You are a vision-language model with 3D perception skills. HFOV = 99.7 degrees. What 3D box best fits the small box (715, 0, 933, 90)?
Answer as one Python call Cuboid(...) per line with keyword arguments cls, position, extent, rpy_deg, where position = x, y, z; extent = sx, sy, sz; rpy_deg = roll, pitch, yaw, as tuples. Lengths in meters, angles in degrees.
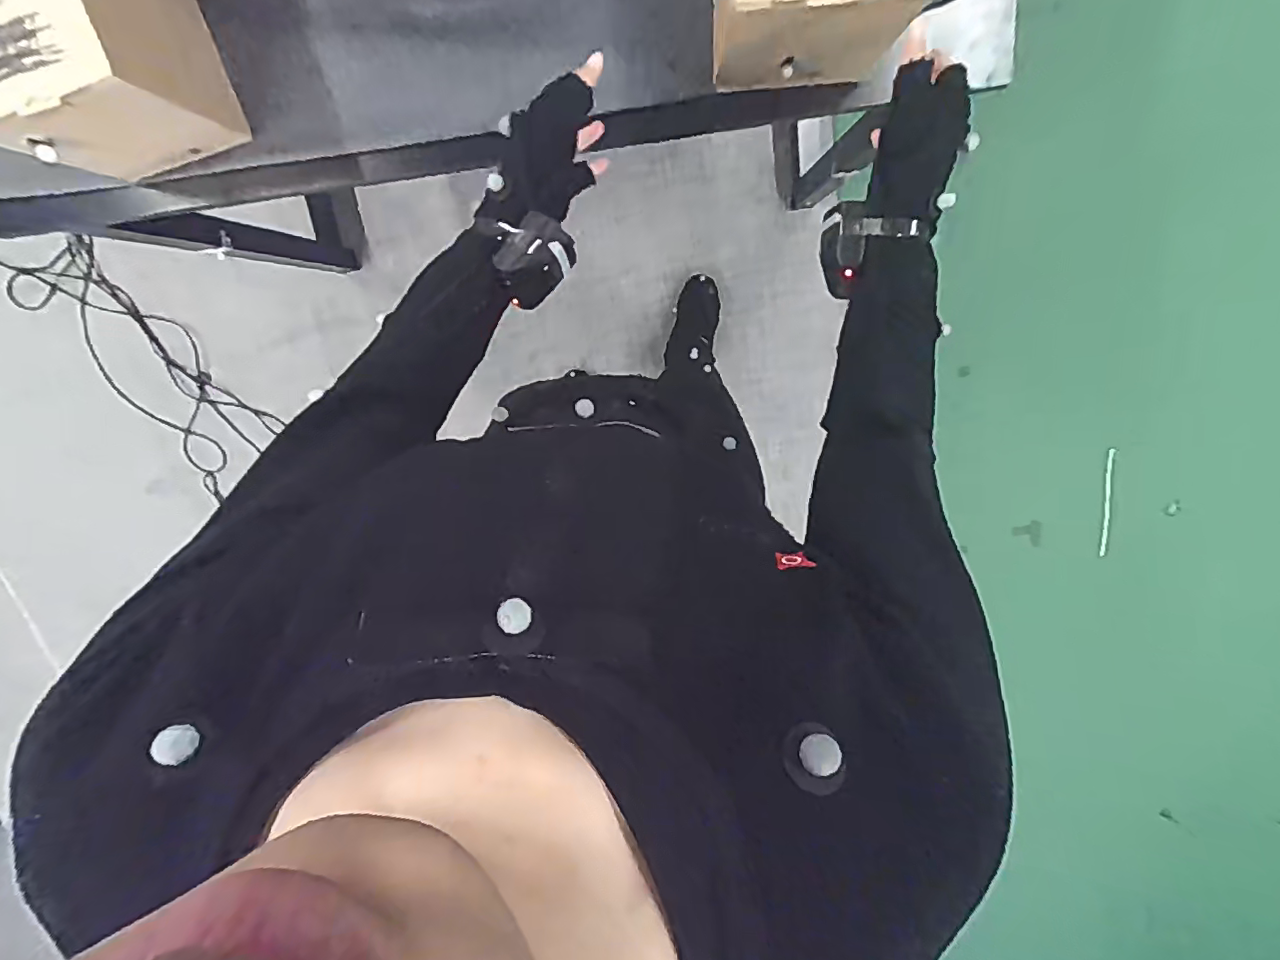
Cuboid(cls="small box", position=(0.159, -0.494, 0.495), extent=(0.168, 0.176, 0.179), rpy_deg=(-2, 108, 3))
